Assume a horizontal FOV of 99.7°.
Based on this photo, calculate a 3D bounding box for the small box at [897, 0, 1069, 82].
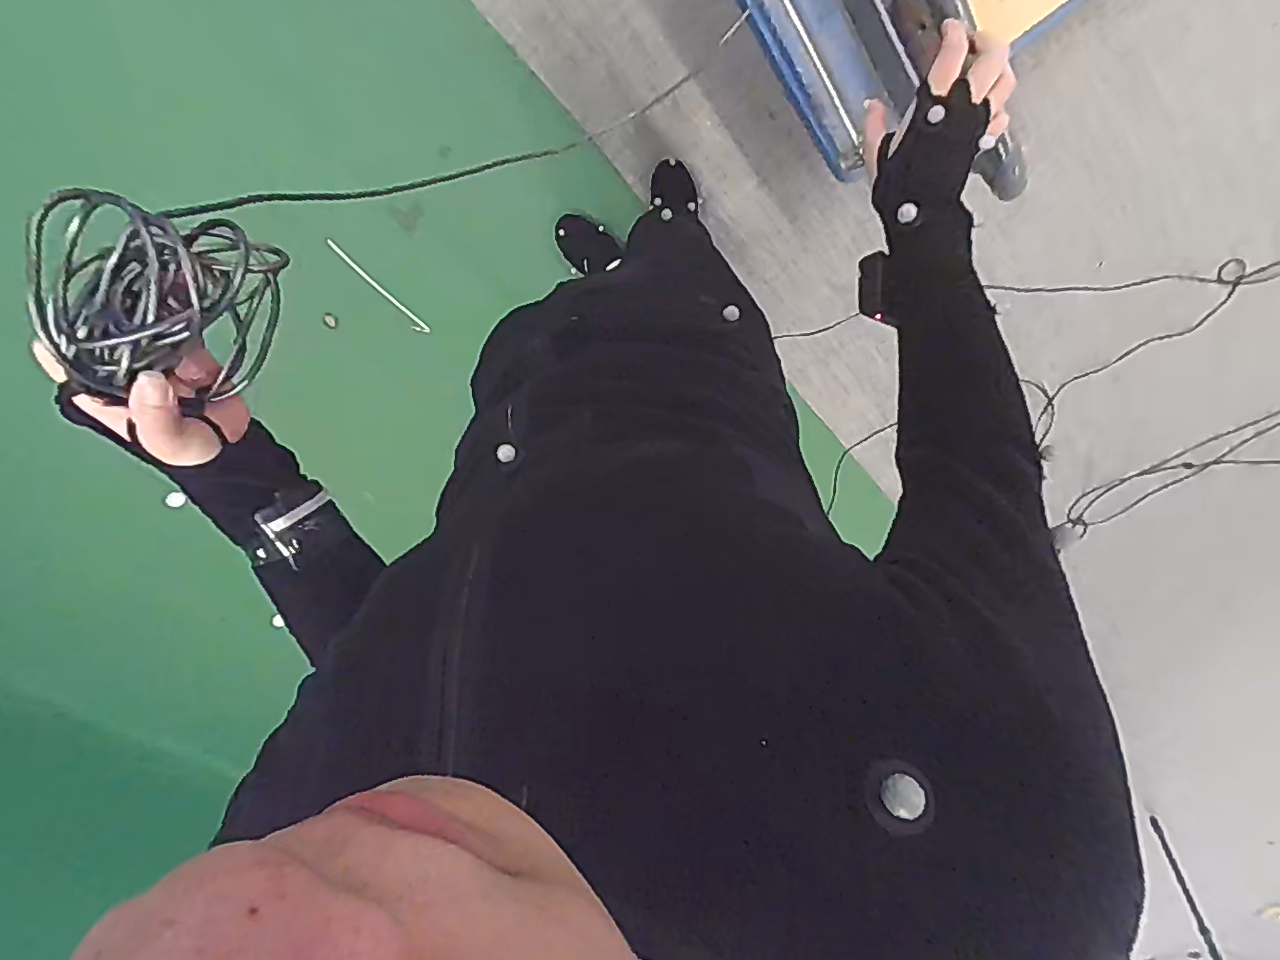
[{"bbox_3d":[0.591,-0.842,0.947,0.179,0.176,0.168,-32,117,19],"label":"small box"}]
